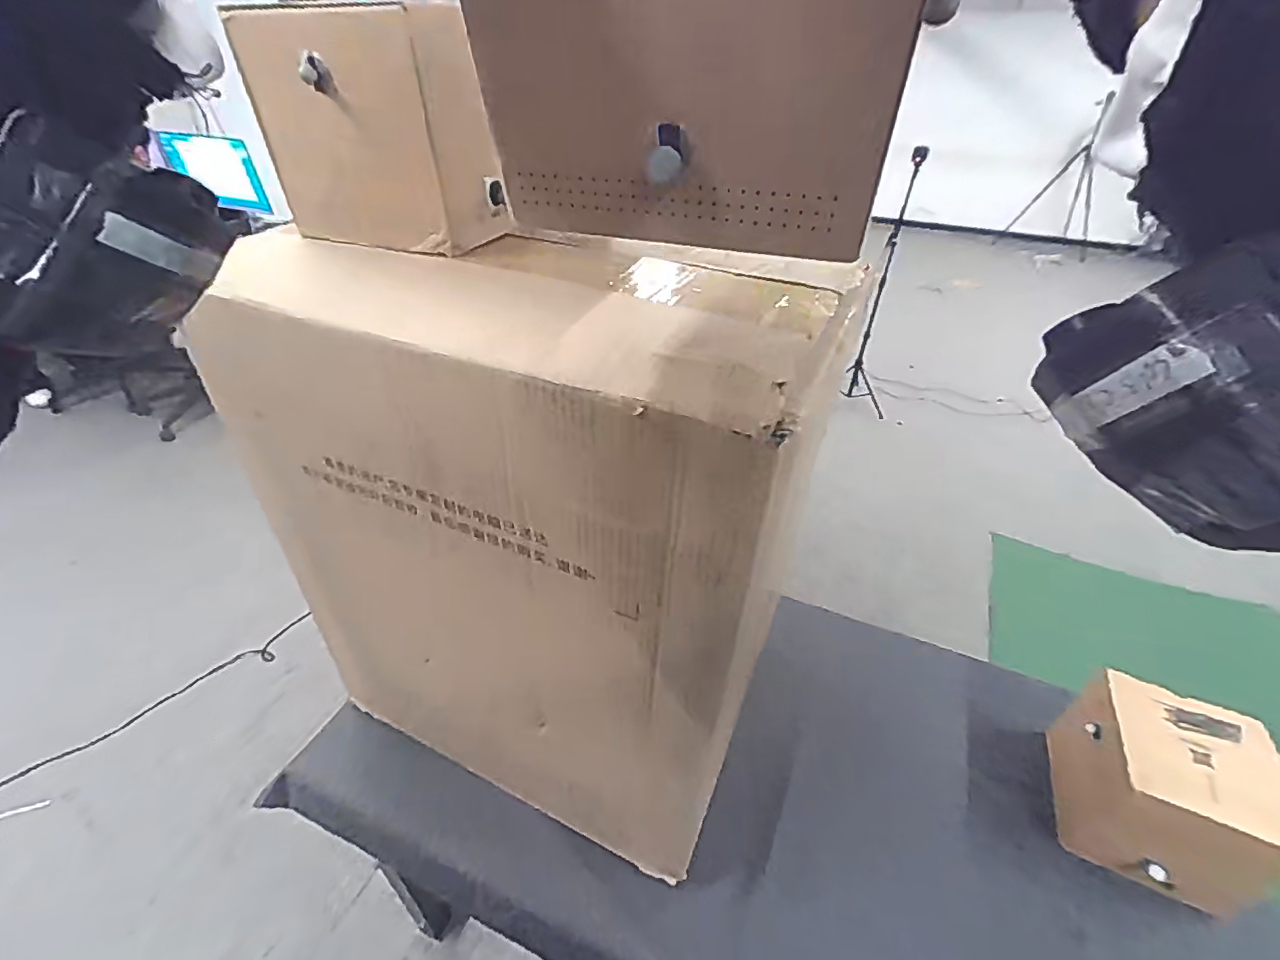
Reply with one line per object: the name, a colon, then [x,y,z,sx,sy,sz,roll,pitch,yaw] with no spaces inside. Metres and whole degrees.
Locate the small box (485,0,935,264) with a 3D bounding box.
small box: [0.043,-0.224,0.258,0.179,0.176,0.168,14,51,14]

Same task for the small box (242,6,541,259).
small box: [-0.195,-0.315,0.492,0.179,0.176,0.168,15,43,14]

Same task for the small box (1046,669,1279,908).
small box: [0.652,0.387,0.690,0.168,0.176,0.179,18,39,20]
